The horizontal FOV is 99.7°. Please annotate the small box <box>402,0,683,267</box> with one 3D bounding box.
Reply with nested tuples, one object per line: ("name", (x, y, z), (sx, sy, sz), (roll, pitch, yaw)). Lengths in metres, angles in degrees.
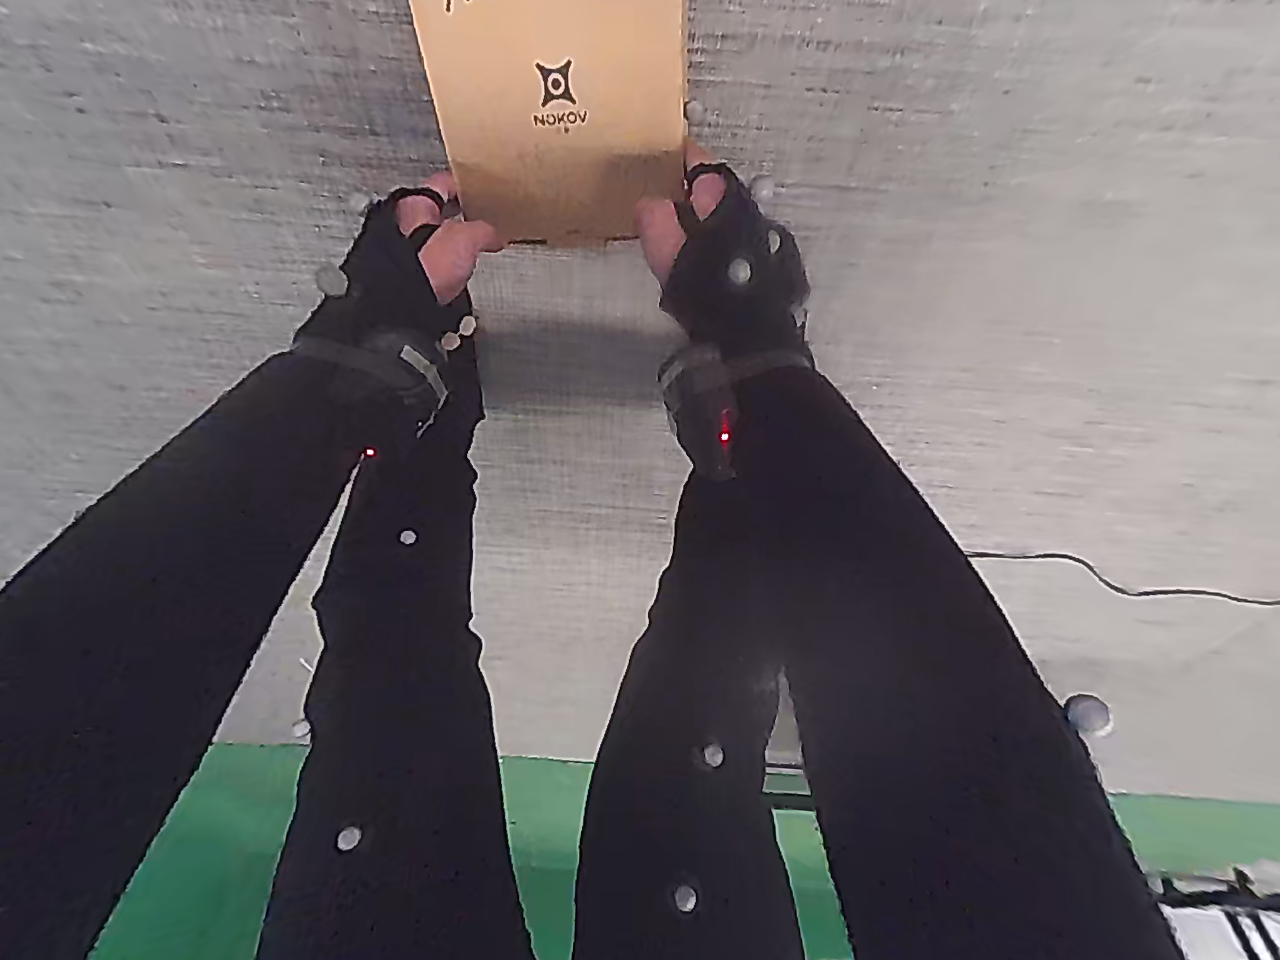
("small box", (-0.051, -0.282, 0.420), (0.168, 0.176, 0.179), (0, 128, 5))
